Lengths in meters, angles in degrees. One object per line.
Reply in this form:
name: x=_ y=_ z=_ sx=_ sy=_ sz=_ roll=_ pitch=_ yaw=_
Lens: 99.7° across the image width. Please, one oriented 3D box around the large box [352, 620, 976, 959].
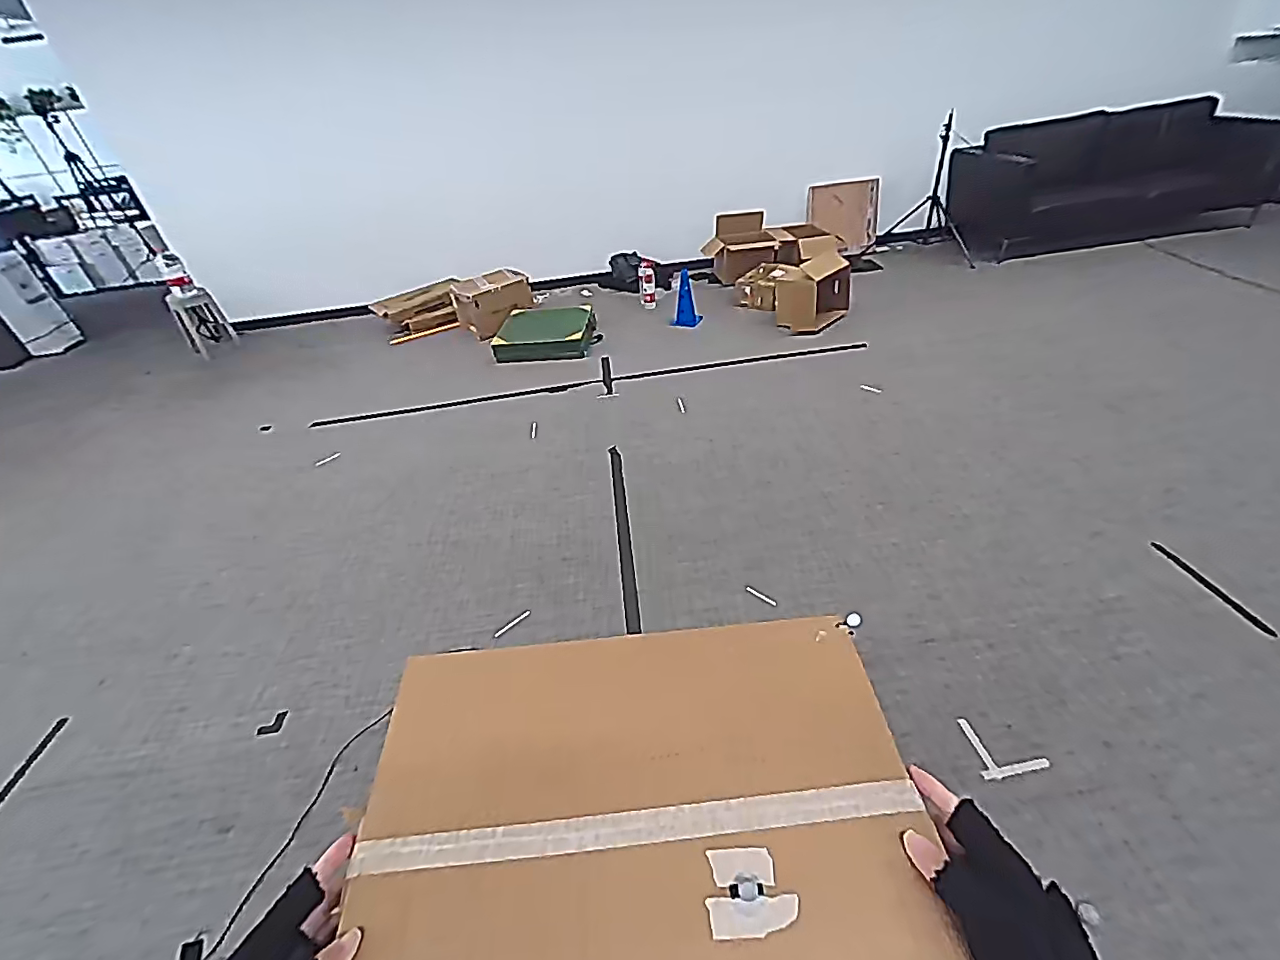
large box: x=0.009 y=0.365 z=0.500 sx=0.408 sy=0.320 sz=0.320 roll=-5 pitch=43 yaw=-2
